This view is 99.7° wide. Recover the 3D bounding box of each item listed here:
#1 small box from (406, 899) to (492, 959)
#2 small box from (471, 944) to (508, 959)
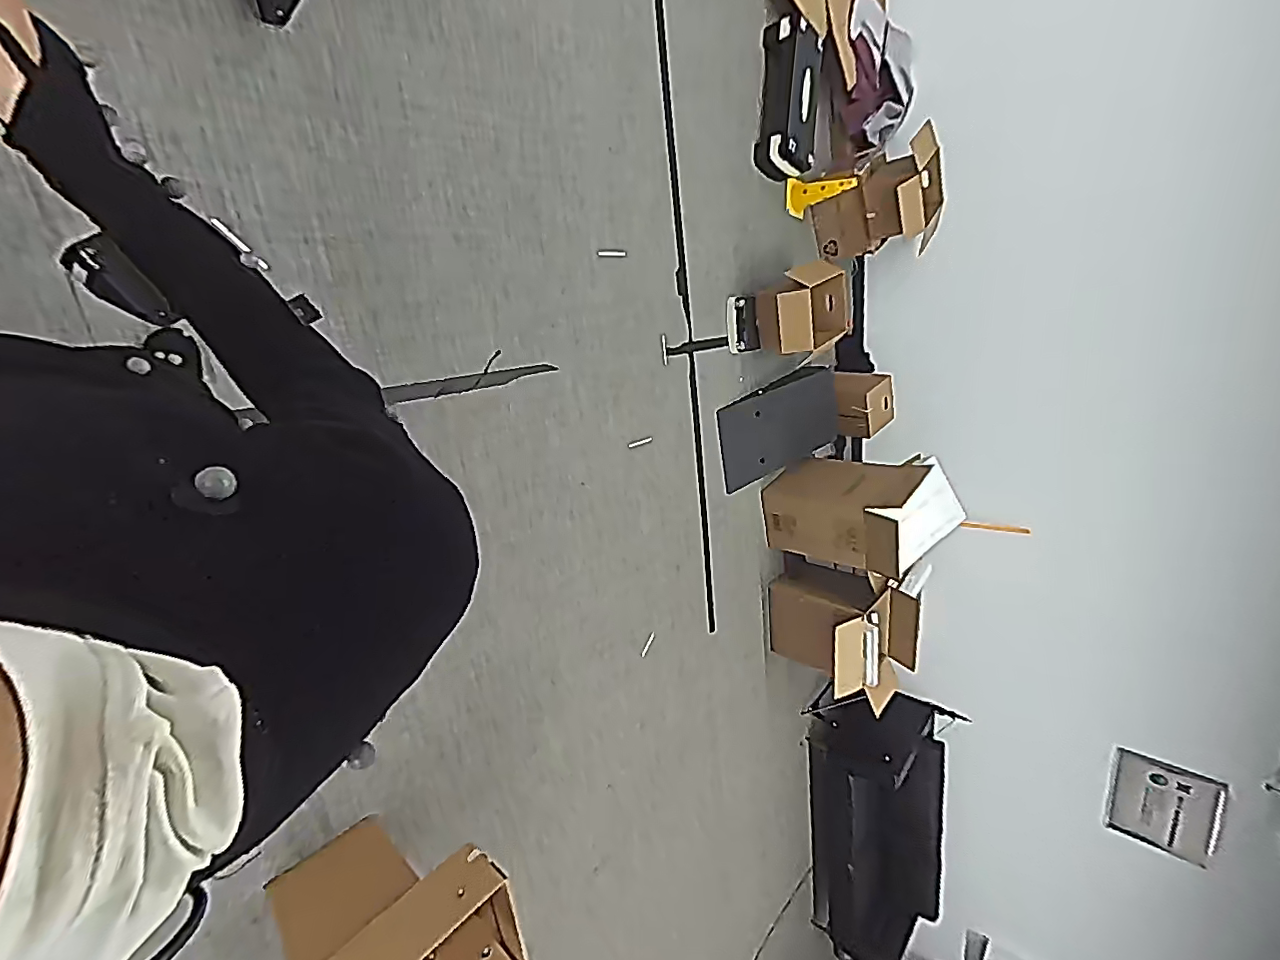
[{"bbox_3d":[-0.502,1.292,1.447,0.179,0.176,0.168,-30,119,-42],"label":"small box"},{"bbox_3d":[-0.378,1.317,1.343,0.168,0.176,0.179,-28,119,-42],"label":"small box"}]
